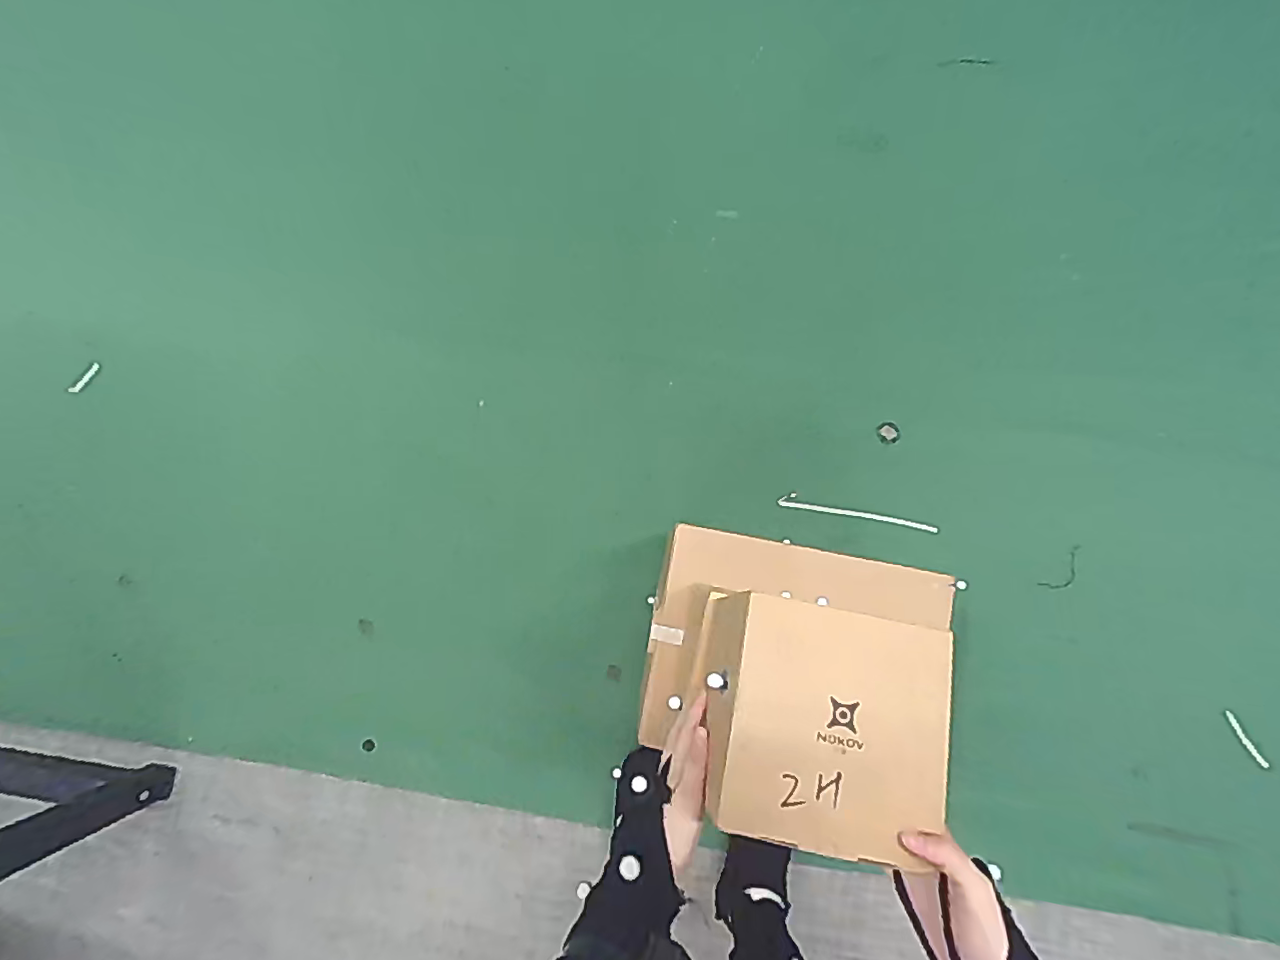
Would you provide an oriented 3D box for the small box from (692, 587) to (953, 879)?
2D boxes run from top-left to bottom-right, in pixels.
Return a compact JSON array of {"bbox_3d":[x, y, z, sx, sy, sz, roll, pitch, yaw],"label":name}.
[{"bbox_3d":[0.146,0.202,0.478,0.168,0.176,0.179,11,75,2],"label":"small box"}]

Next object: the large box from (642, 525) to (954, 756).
[{"bbox_3d":[0.222,0.266,0.894,0.408,0.320,0.320,11,83,2],"label":"large box"}]

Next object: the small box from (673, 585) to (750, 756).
[{"bbox_3d":[0.137,0.231,0.655,0.168,0.176,0.179,12,83,2],"label":"small box"}]
